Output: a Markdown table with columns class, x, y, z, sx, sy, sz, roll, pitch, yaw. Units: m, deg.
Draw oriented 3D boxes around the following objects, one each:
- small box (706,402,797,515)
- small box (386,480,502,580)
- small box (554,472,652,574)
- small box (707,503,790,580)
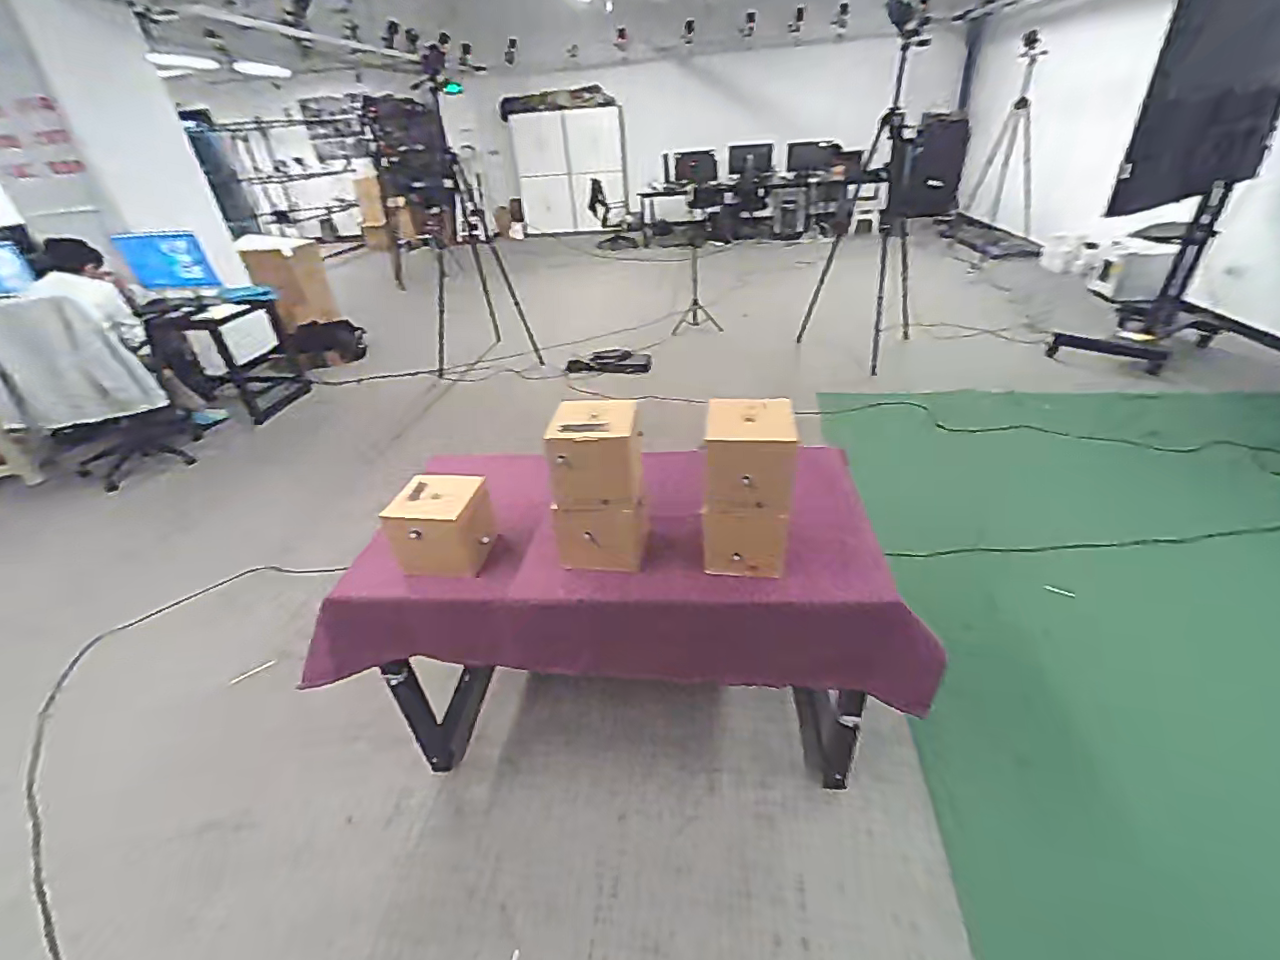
| class | x | y | z | sx | sy | sz | roll | pitch | yaw |
| --- | --- | --- | --- | --- | --- | --- | --- | --- | --- |
| small box | 0.222 | -0.044 | 1.090 | 0.168 | 0.176 | 0.179 | 1 | 33 | 10 |
| small box | -0.439 | 0.114 | 1.242 | 0.179 | 0.176 | 0.168 | 2 | 33 | 9 |
| small box | -0.074 | 0.096 | 1.220 | 0.179 | 0.176 | 0.168 | 1 | 33 | 11 |
| small box | 0.234 | 0.094 | 1.179 | 0.168 | 0.176 | 0.179 | 1 | 34 | 11 |
